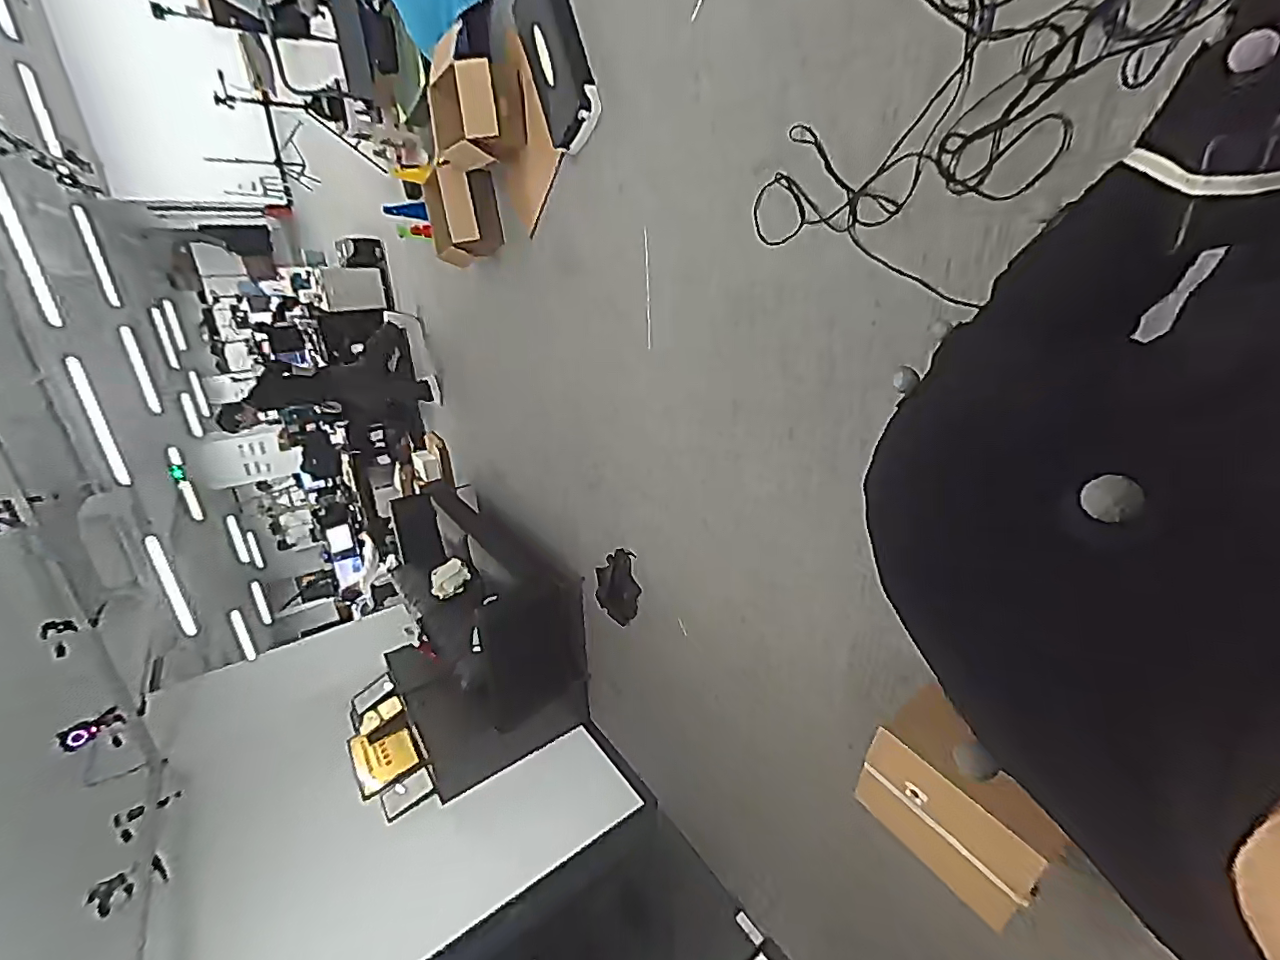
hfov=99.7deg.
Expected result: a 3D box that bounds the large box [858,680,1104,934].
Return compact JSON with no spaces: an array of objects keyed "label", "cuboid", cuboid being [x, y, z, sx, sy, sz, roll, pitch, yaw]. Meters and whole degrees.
[{"label":"large box","cuboid":[0.861,0.815,1.404,0.408,0.320,0.320,36,132,46]}]
